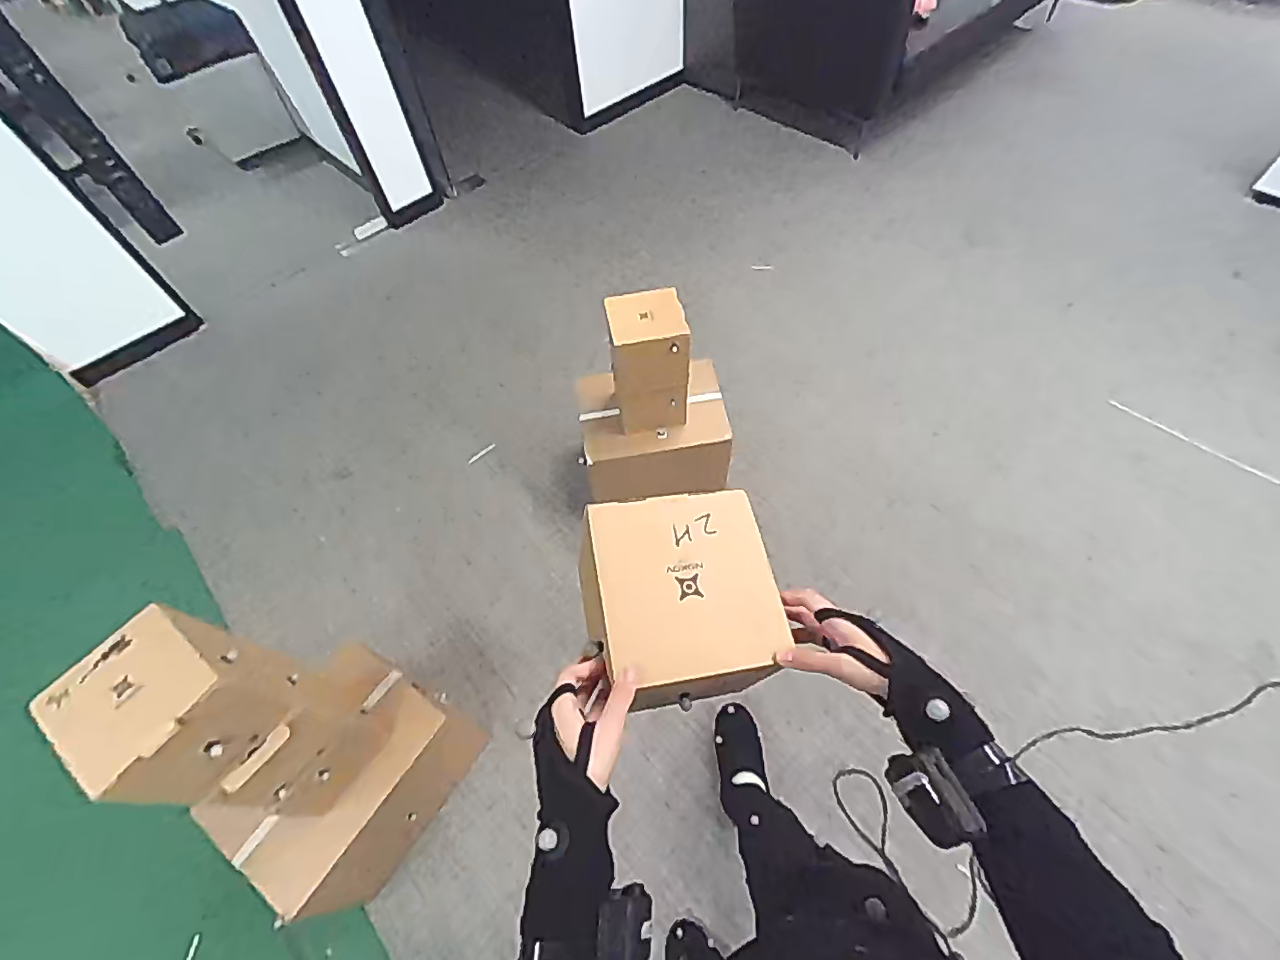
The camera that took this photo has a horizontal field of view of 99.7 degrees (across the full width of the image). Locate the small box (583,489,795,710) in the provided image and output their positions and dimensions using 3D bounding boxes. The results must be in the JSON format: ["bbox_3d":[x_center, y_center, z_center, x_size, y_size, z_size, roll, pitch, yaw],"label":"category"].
[{"bbox_3d":[0.033,0.131,0.562,0.168,0.176,0.179,-5,59,-12],"label":"small box"}]

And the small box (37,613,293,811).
[{"bbox_3d":[-0.629,0.318,0.741,0.179,0.176,0.168,32,64,20],"label":"small box"}]

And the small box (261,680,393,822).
[{"bbox_3d":[-0.606,0.505,1.010,0.168,0.176,0.179,31,64,21],"label":"small box"}]

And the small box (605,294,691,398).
[{"bbox_3d":[0.021,-0.317,1.306,0.179,0.176,0.168,-11,57,-4],"label":"small box"}]

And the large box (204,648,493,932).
[{"bbox_3d":[-0.604,0.660,1.201,0.320,0.320,0.408,26,64,21],"label":"large box"}]

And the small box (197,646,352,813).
[{"bbox_3d":[-0.614,0.406,0.879,0.179,0.176,0.168,32,64,22],"label":"small box"}]
